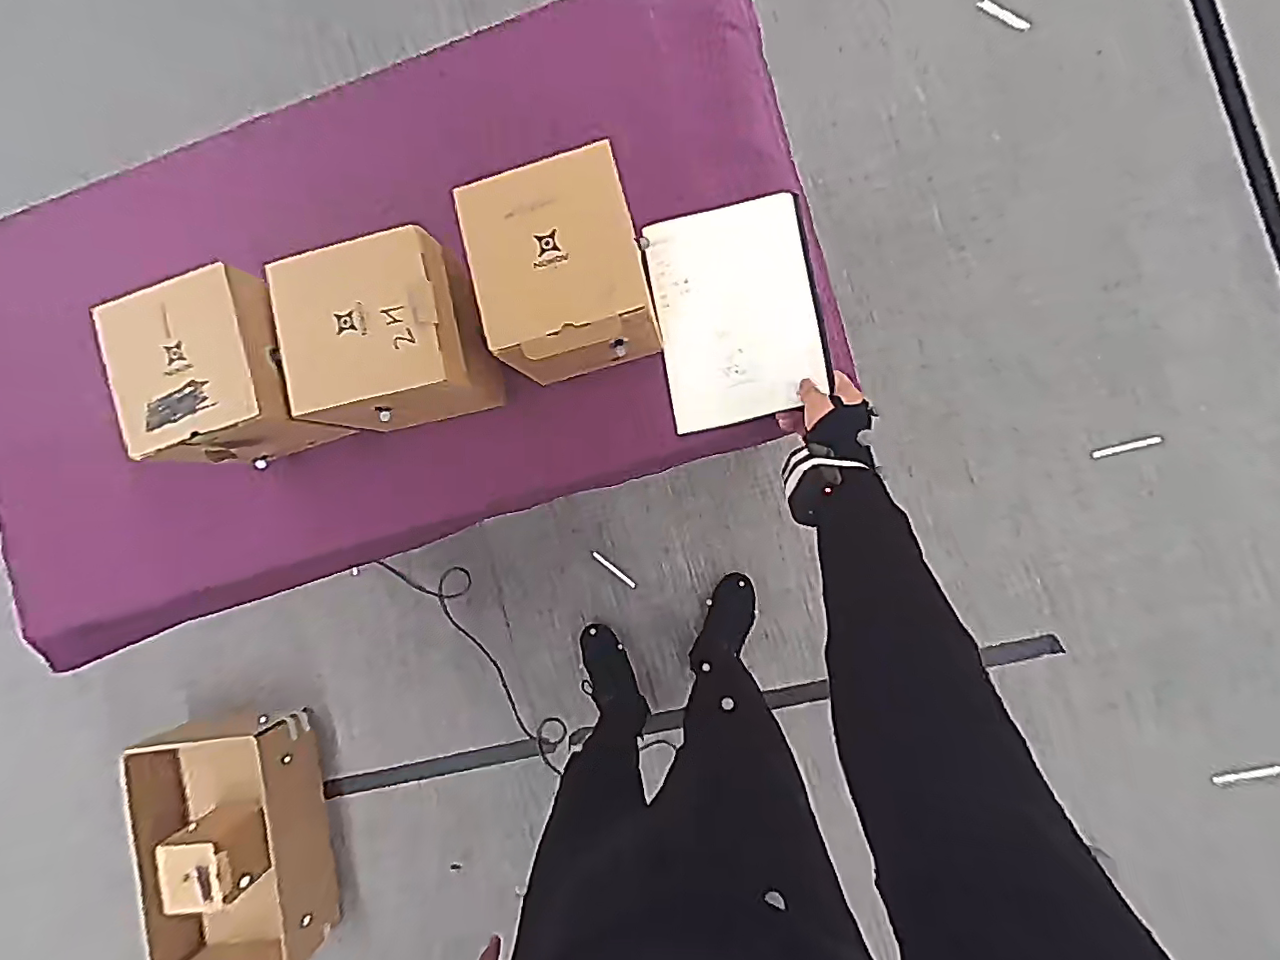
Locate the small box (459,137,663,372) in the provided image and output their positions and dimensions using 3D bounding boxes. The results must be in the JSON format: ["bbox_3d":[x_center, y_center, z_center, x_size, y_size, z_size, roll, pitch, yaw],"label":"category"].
[{"bbox_3d":[-0.075,-0.230,0.608,0.168,0.176,0.179,-14,87,6],"label":"small box"}]
